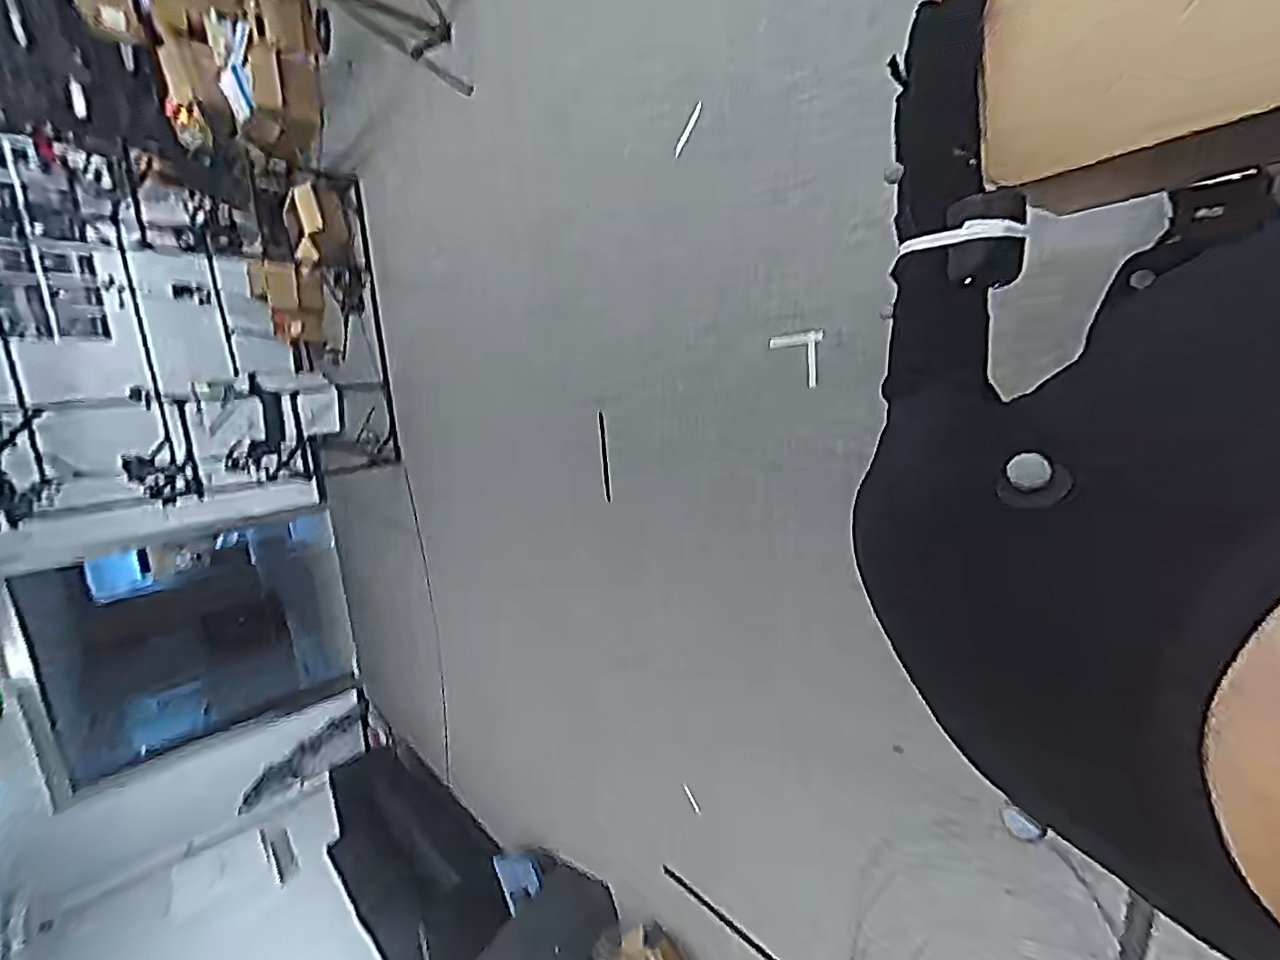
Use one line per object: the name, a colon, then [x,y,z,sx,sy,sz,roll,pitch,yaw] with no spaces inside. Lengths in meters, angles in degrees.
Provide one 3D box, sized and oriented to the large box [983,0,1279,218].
large box: [0.497,-0.414,0.370,0.408,0.320,0.320,2,107,45]
